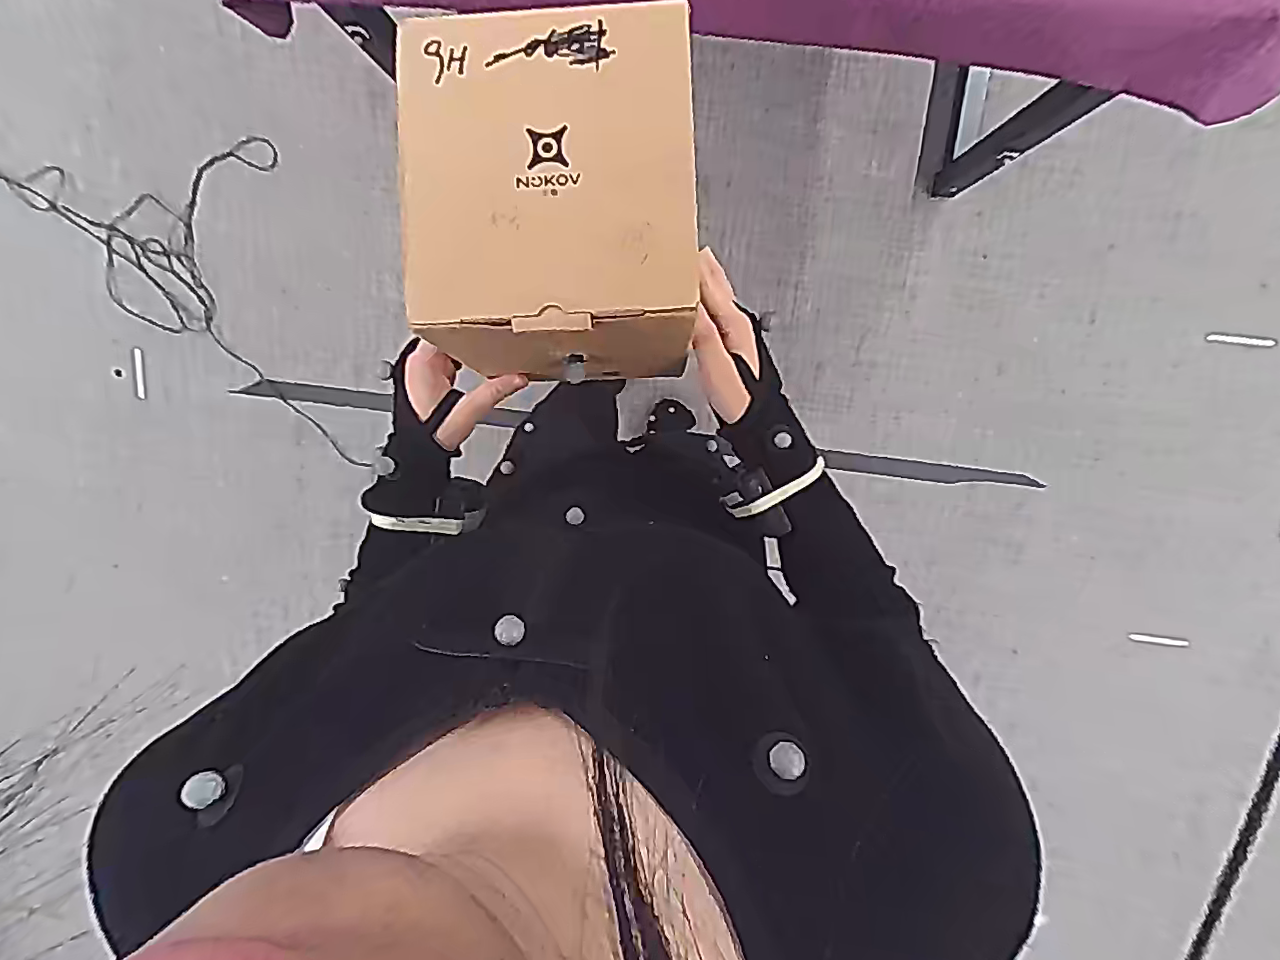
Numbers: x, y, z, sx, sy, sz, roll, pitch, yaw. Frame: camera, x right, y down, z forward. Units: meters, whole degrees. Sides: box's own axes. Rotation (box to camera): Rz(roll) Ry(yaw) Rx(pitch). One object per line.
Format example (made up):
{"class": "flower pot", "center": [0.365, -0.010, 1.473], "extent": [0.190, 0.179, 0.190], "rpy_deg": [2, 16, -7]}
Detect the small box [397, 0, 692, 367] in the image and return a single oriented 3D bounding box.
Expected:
{"class": "small box", "center": [-0.049, -0.178, 0.378], "extent": [0.168, 0.176, 0.179], "rpy_deg": [-2, 90, 2]}
